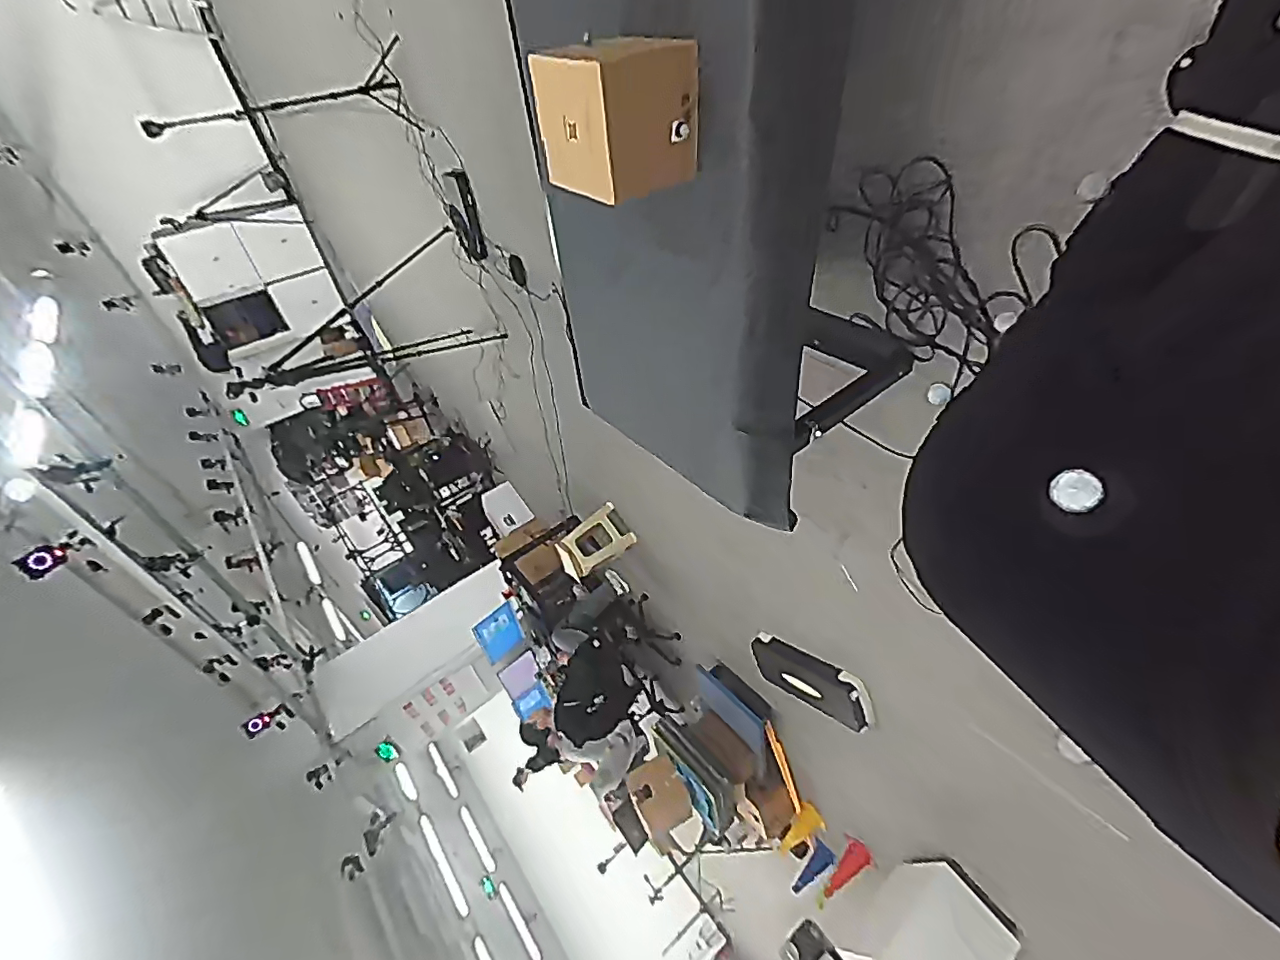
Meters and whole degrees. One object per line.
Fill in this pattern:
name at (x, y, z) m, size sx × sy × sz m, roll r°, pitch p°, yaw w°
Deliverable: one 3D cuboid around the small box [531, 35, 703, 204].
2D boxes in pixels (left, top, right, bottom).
small box at (-0.028, -0.527, 0.786) m, size 0.179 × 0.176 × 0.168 m, roll 38°, pitch 150°, yaw 36°
